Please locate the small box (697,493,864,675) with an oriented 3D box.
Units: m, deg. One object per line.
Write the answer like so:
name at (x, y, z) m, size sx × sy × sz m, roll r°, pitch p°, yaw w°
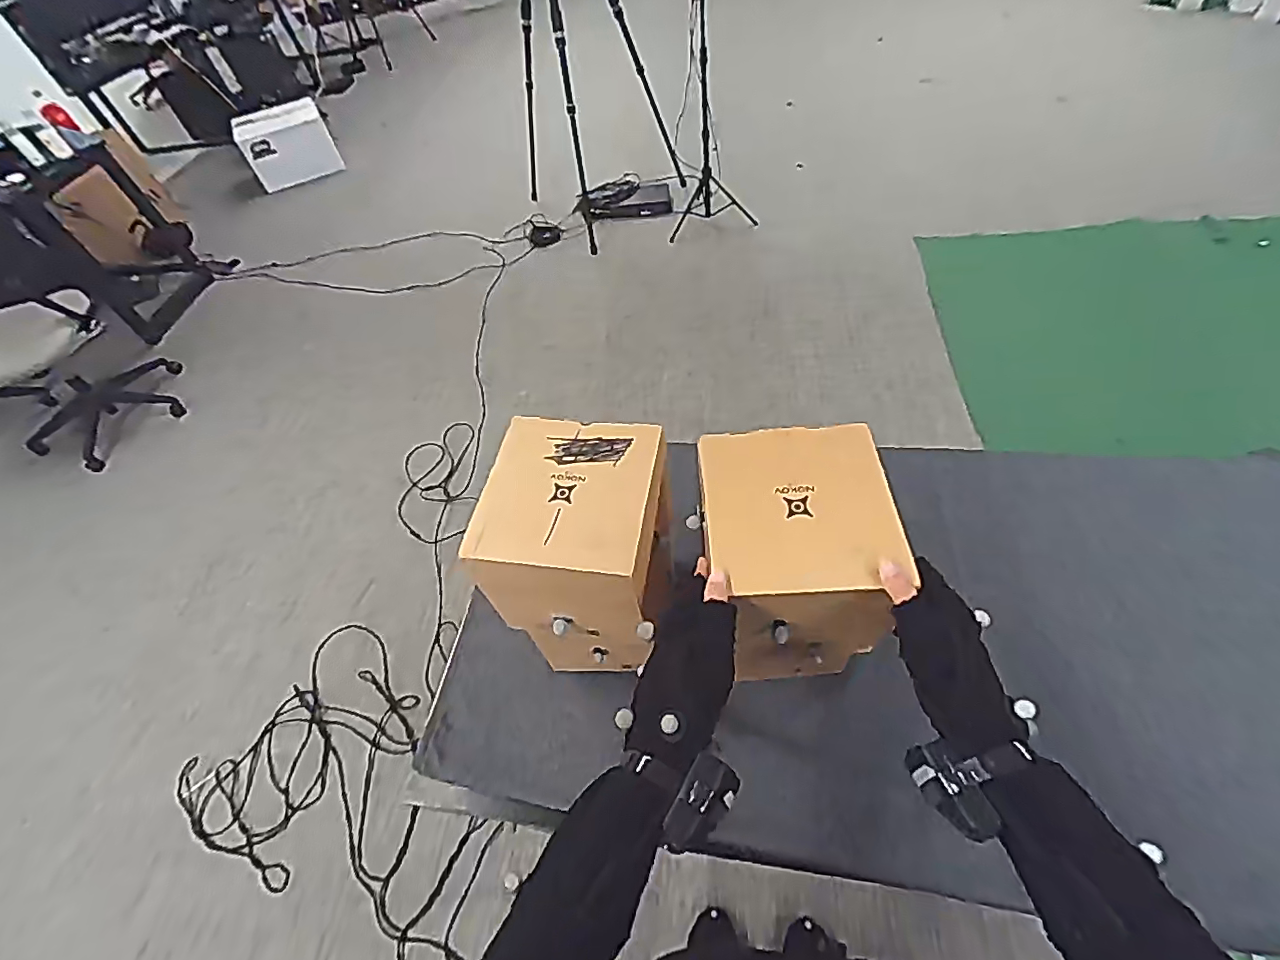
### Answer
small box at (0.166, 0.141, 0.693) m, size 0.168 × 0.176 × 0.179 m, roll -6°, pitch 52°, yaw 3°
